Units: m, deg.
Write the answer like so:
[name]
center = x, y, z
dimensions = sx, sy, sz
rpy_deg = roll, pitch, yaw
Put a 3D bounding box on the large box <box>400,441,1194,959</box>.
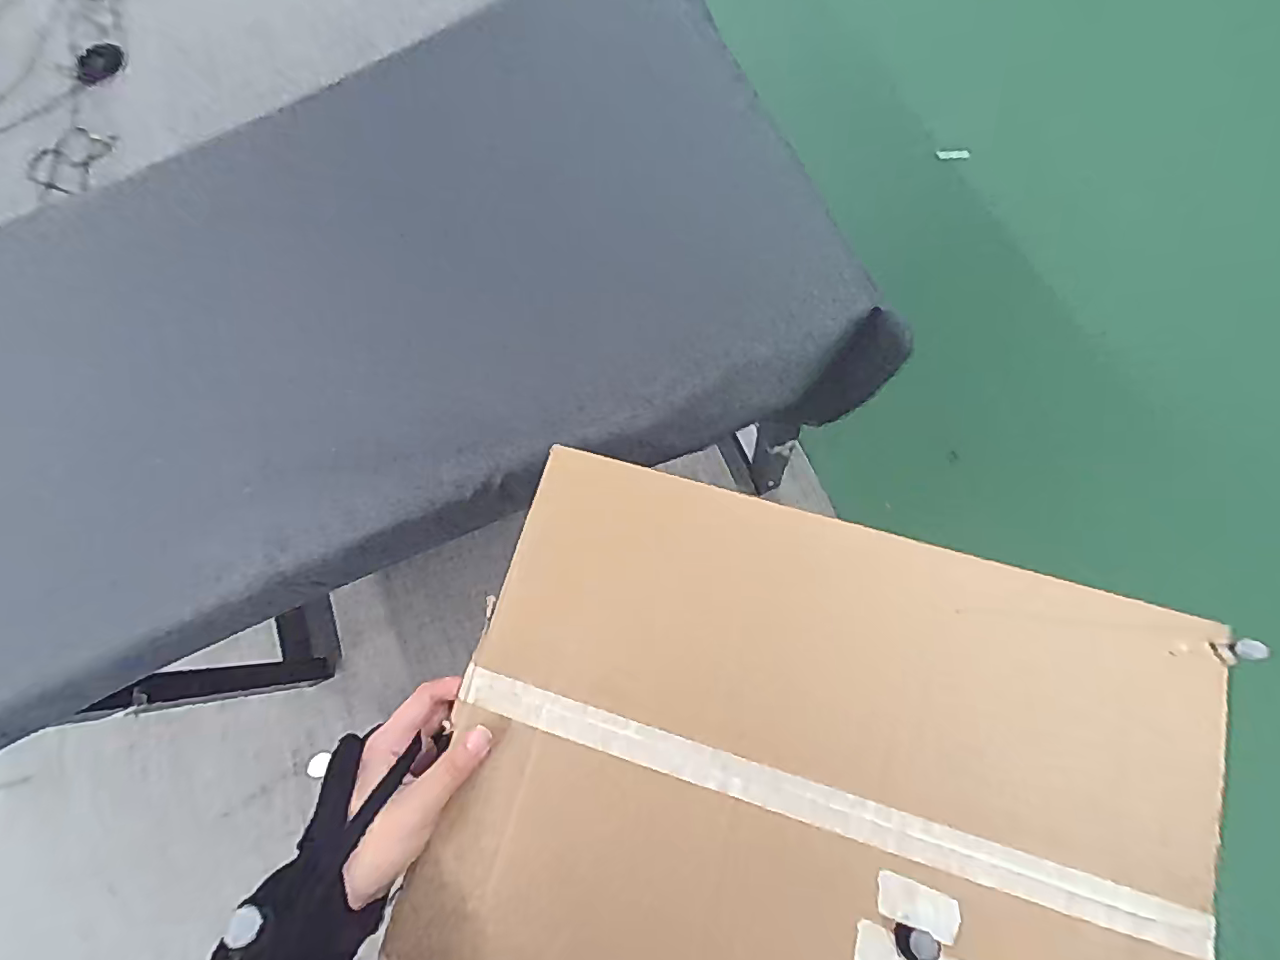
[large box]
center = 0.102, 0.196, 0.453
dimensions = 0.408, 0.320, 0.320
rpy_deg = 14, 78, 8
